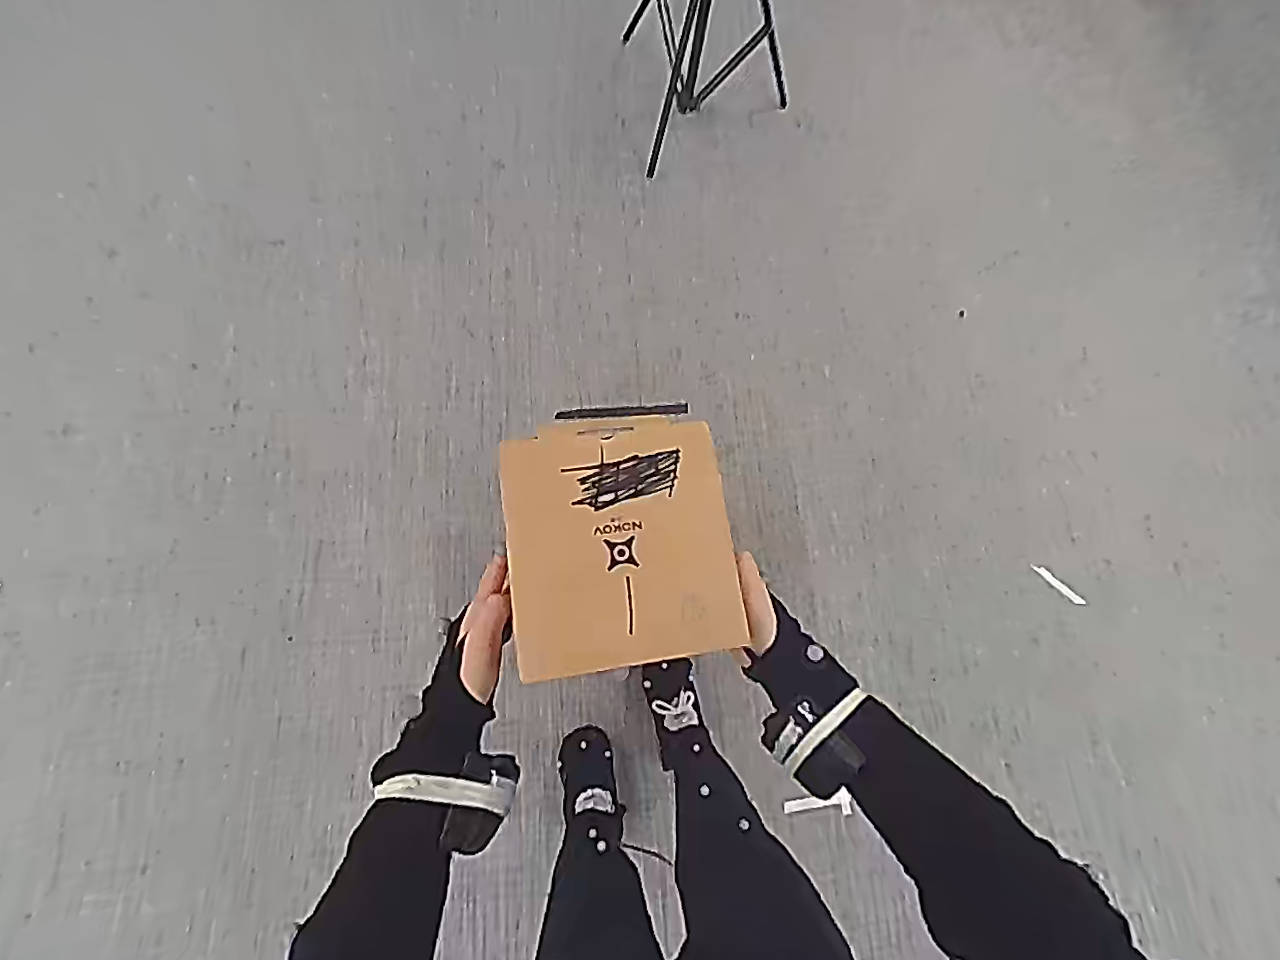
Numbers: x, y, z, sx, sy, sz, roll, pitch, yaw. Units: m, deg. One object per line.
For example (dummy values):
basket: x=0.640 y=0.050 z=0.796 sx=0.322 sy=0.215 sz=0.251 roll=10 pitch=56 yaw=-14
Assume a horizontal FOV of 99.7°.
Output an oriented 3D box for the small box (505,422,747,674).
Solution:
small box: x=-0.022 y=0.065 z=0.480 sx=0.168 sy=0.176 sz=0.179 roll=-7 pitch=76 yaw=-8
